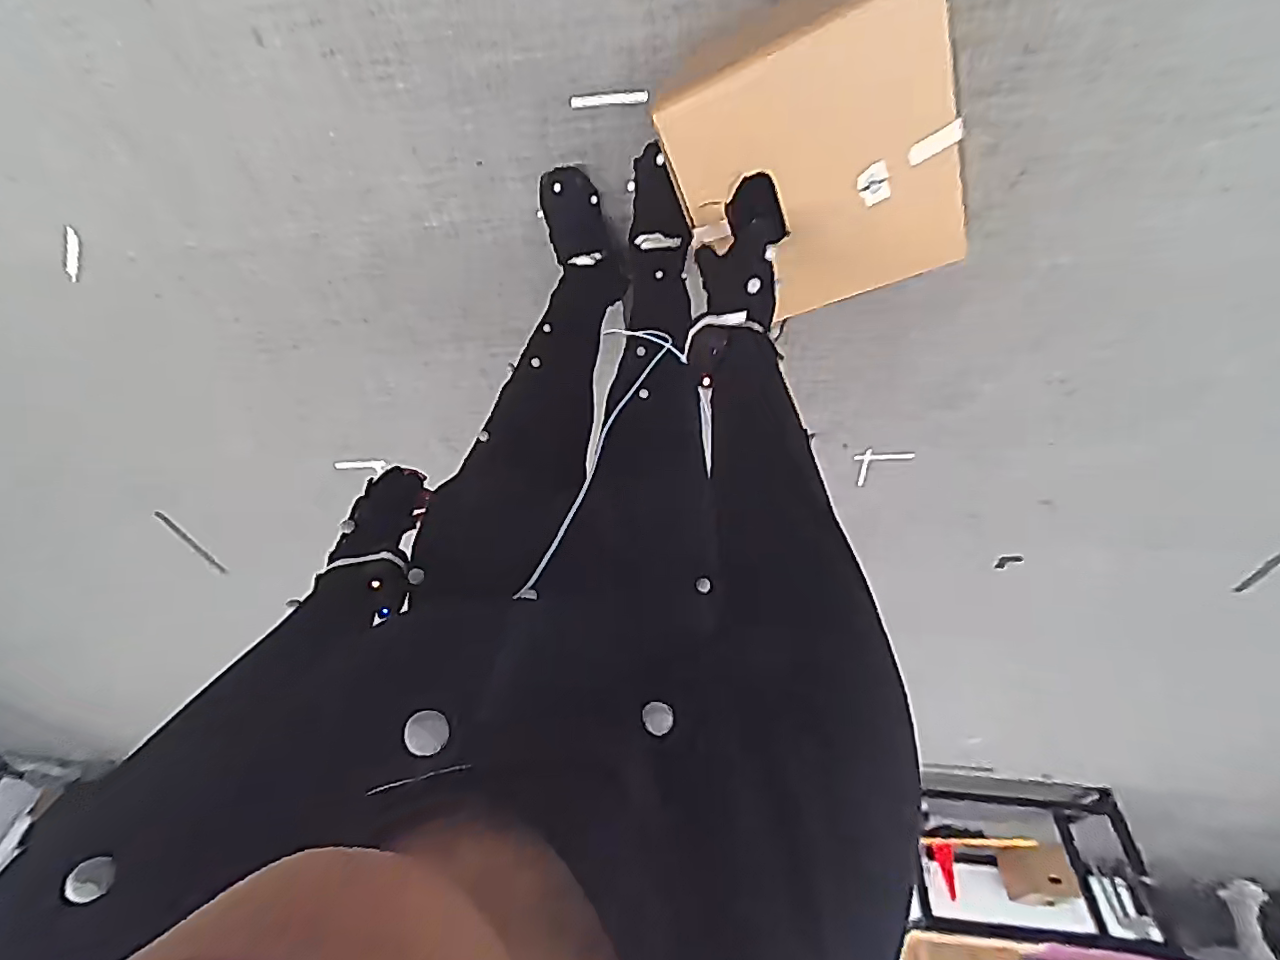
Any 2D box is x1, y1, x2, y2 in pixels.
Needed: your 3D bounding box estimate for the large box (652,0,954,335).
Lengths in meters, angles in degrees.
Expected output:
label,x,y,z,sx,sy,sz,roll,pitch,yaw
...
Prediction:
label,x,y,z,sx,sy,sz,roll,pitch,yaw
large box,0.245,-0.488,0.814,0.320,0.408,0.320,-12,131,24
